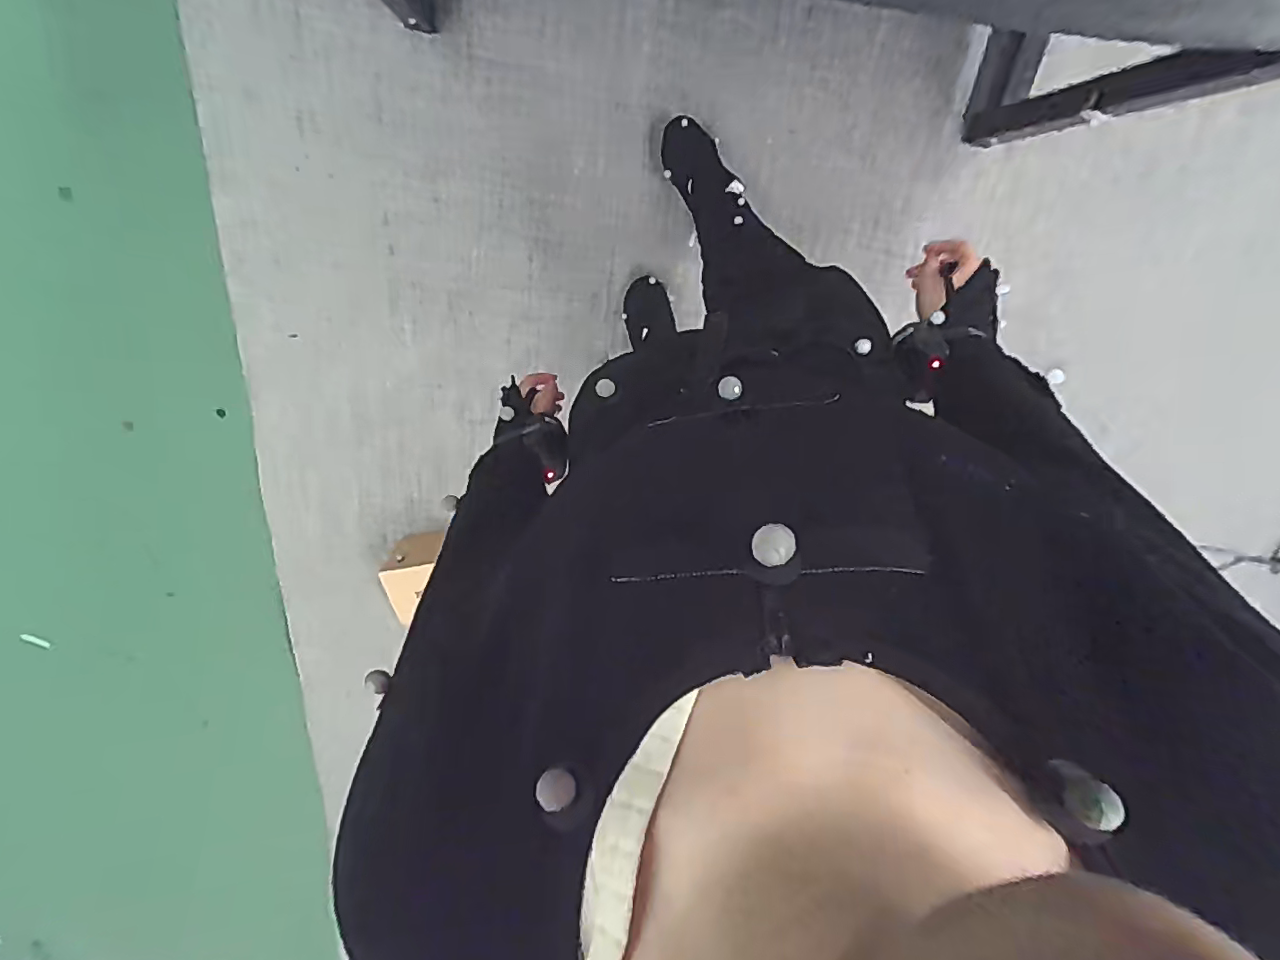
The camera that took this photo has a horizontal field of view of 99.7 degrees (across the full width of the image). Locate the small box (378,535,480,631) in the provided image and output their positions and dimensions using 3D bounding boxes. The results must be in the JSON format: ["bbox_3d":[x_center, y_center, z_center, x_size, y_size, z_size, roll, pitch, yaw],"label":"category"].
[{"bbox_3d":[-0.537,0.262,1.402,0.179,0.176,0.168,-10,114,2],"label":"small box"}]
